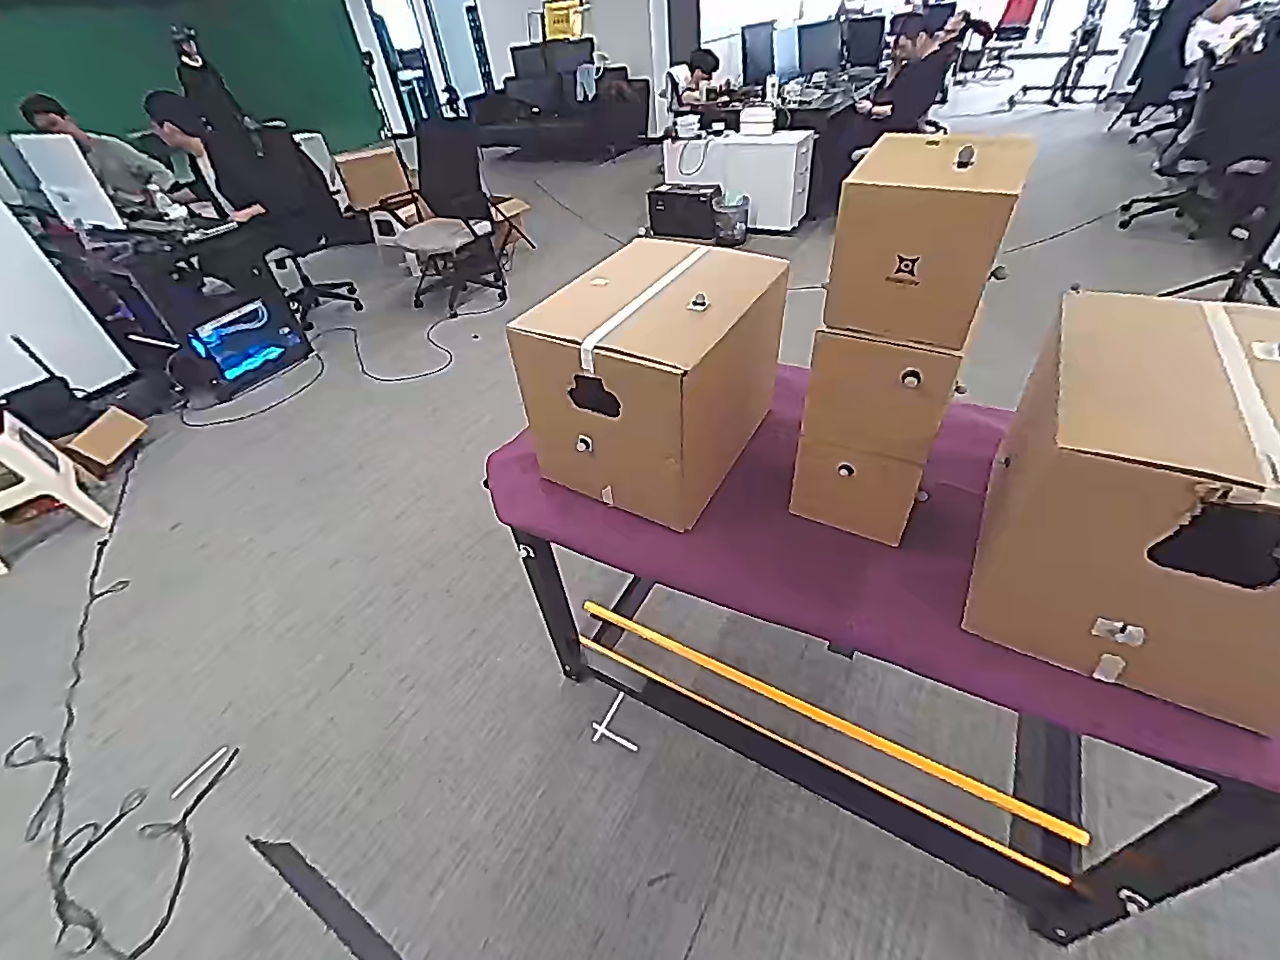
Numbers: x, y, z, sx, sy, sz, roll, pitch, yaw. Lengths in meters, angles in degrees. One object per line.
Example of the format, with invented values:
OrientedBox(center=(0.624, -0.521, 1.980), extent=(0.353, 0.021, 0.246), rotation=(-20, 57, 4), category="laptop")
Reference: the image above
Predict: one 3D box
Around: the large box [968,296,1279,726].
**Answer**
OrientedBox(center=(0.640, 0.006, 0.679), extent=(0.320, 0.320, 0.408), rotation=(18, 45, 25), category="large box")
